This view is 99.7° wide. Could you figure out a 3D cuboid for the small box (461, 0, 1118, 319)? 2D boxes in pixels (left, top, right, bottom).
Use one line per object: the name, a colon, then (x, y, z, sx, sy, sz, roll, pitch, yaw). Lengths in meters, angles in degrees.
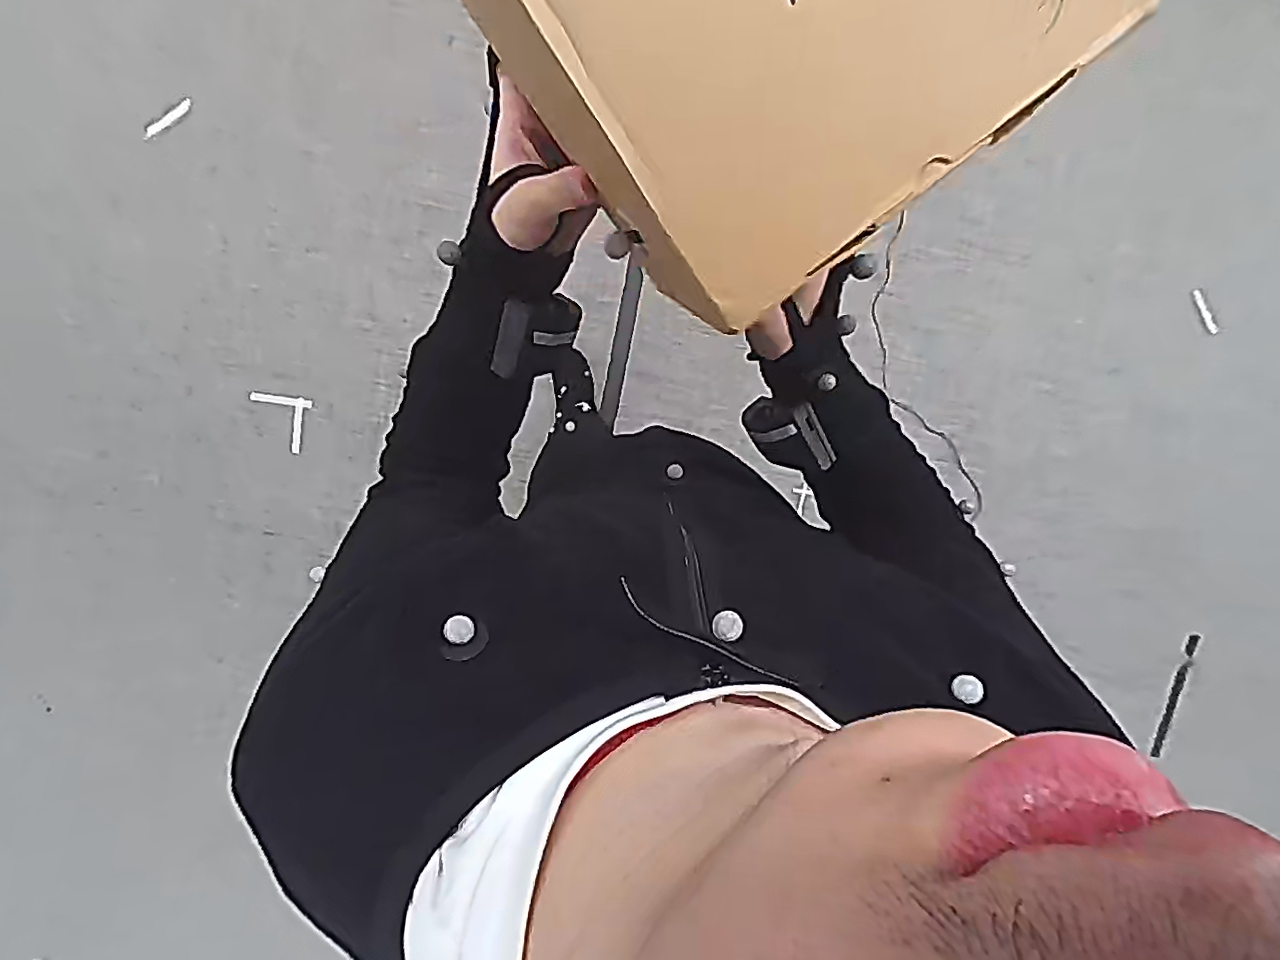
small box: (0.034, -0.201, 0.229, 0.168, 0.176, 0.179, -39, 114, 10)
